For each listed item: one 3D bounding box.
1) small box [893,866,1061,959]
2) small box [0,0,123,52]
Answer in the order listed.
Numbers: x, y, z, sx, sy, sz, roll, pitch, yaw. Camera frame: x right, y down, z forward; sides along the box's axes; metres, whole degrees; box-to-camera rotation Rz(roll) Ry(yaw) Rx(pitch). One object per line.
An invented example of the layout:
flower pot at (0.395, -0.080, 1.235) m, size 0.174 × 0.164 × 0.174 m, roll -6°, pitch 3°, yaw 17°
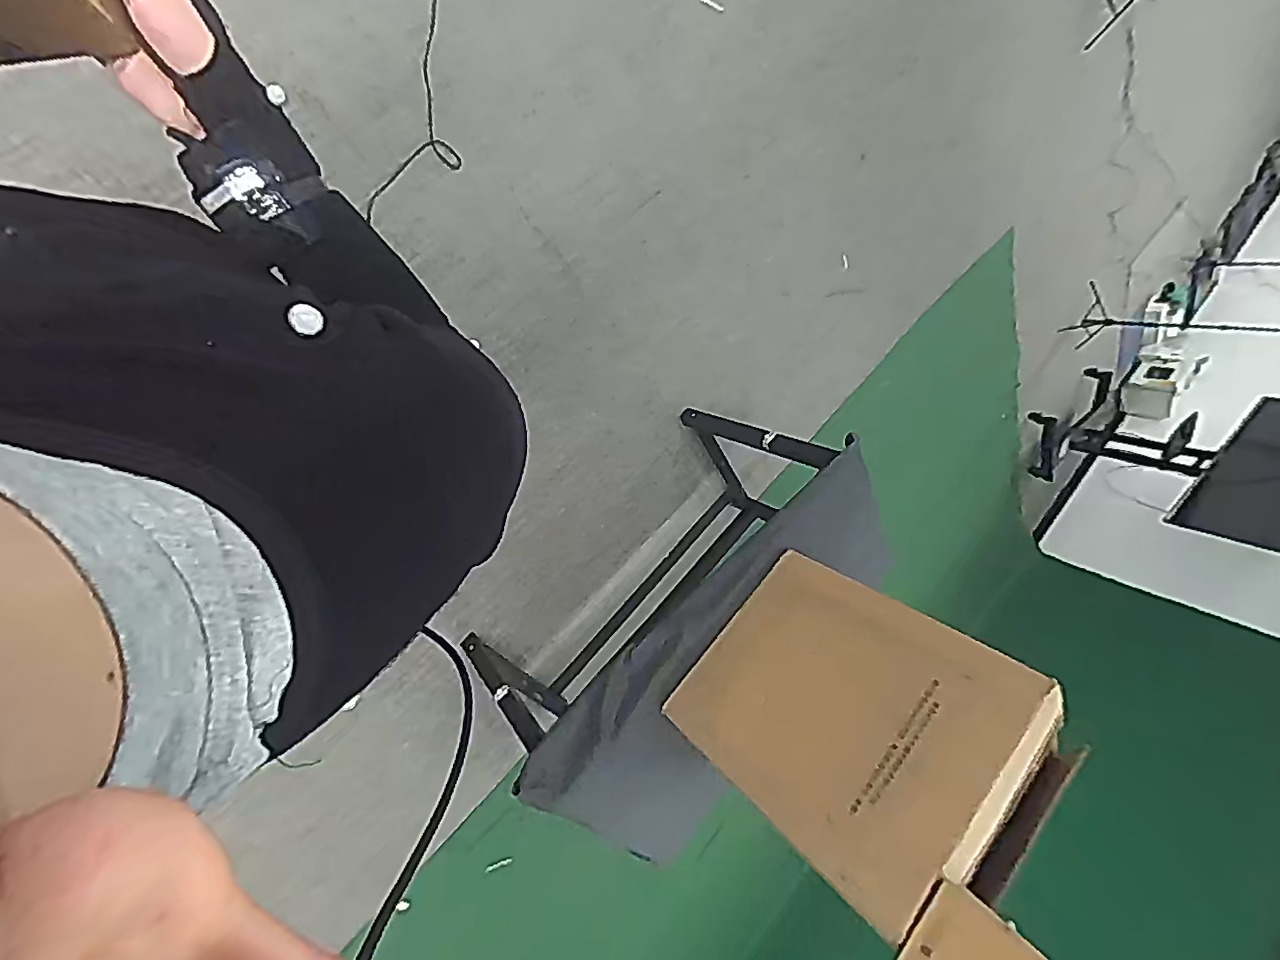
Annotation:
small box at (0.542, 0.768, 0.877) m, size 0.168 × 0.176 × 0.179 m, roll -52°, pitch 131°, yaw -6°
small box at (-0.377, -0.296, 0.216) m, size 0.168 × 0.176 × 0.179 m, roll -21°, pitch 114°, yaw -15°
